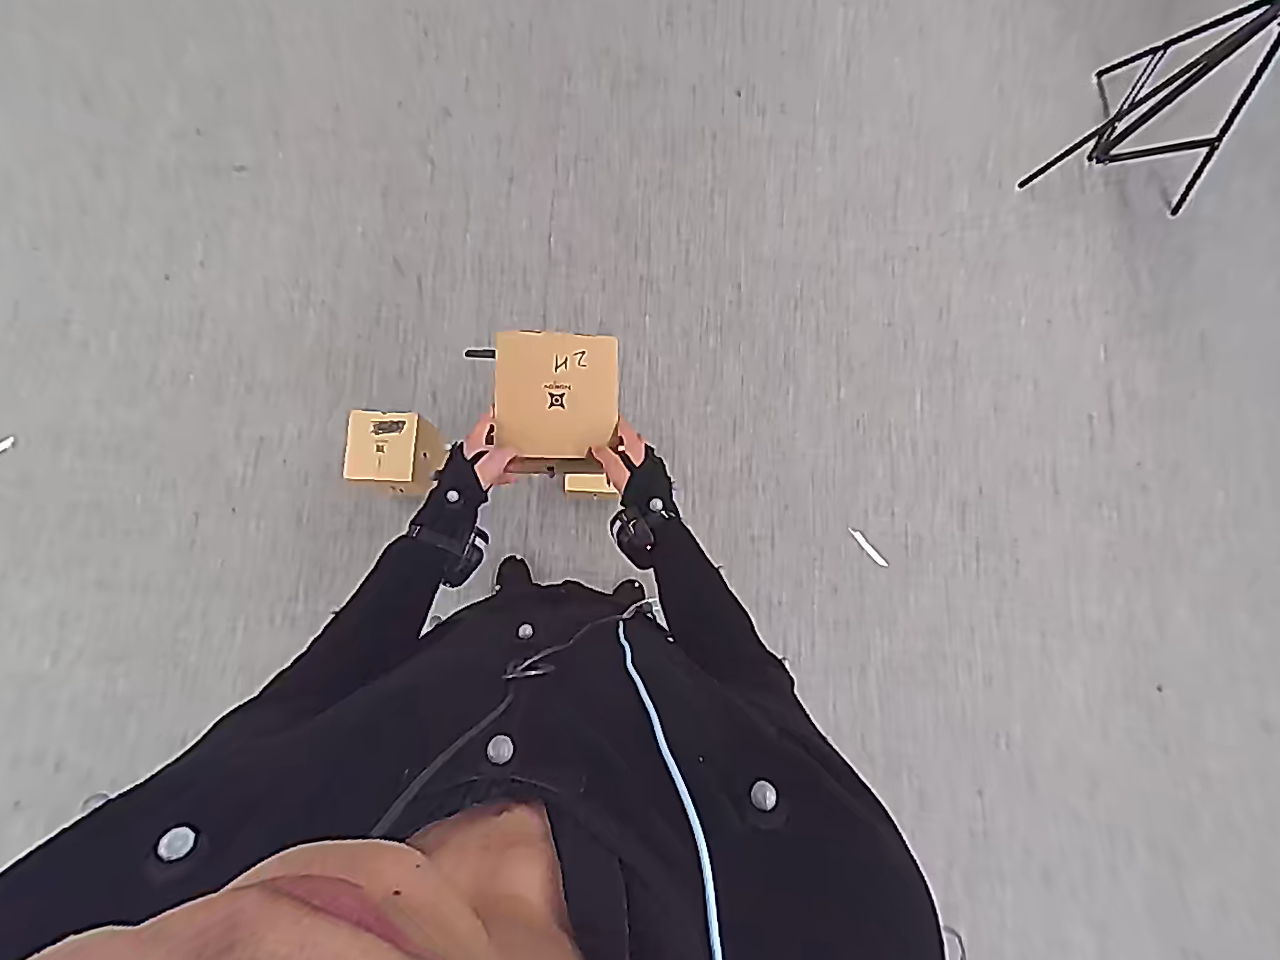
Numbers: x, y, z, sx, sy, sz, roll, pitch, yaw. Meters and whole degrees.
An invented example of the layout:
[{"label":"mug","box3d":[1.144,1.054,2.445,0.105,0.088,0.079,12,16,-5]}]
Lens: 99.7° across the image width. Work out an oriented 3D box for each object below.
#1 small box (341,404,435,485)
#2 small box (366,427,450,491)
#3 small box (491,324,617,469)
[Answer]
[{"label":"small box","box3d":[-0.642,-0.086,1.399,0.168,0.176,0.179,3,83,-4]},{"label":"small box","box3d":[-0.661,-0.061,1.560,0.179,0.176,0.168,2,82,-4]},{"label":"small box","box3d":[-0.127,-0.112,0.801,0.168,0.176,0.179,1,84,-11]}]
